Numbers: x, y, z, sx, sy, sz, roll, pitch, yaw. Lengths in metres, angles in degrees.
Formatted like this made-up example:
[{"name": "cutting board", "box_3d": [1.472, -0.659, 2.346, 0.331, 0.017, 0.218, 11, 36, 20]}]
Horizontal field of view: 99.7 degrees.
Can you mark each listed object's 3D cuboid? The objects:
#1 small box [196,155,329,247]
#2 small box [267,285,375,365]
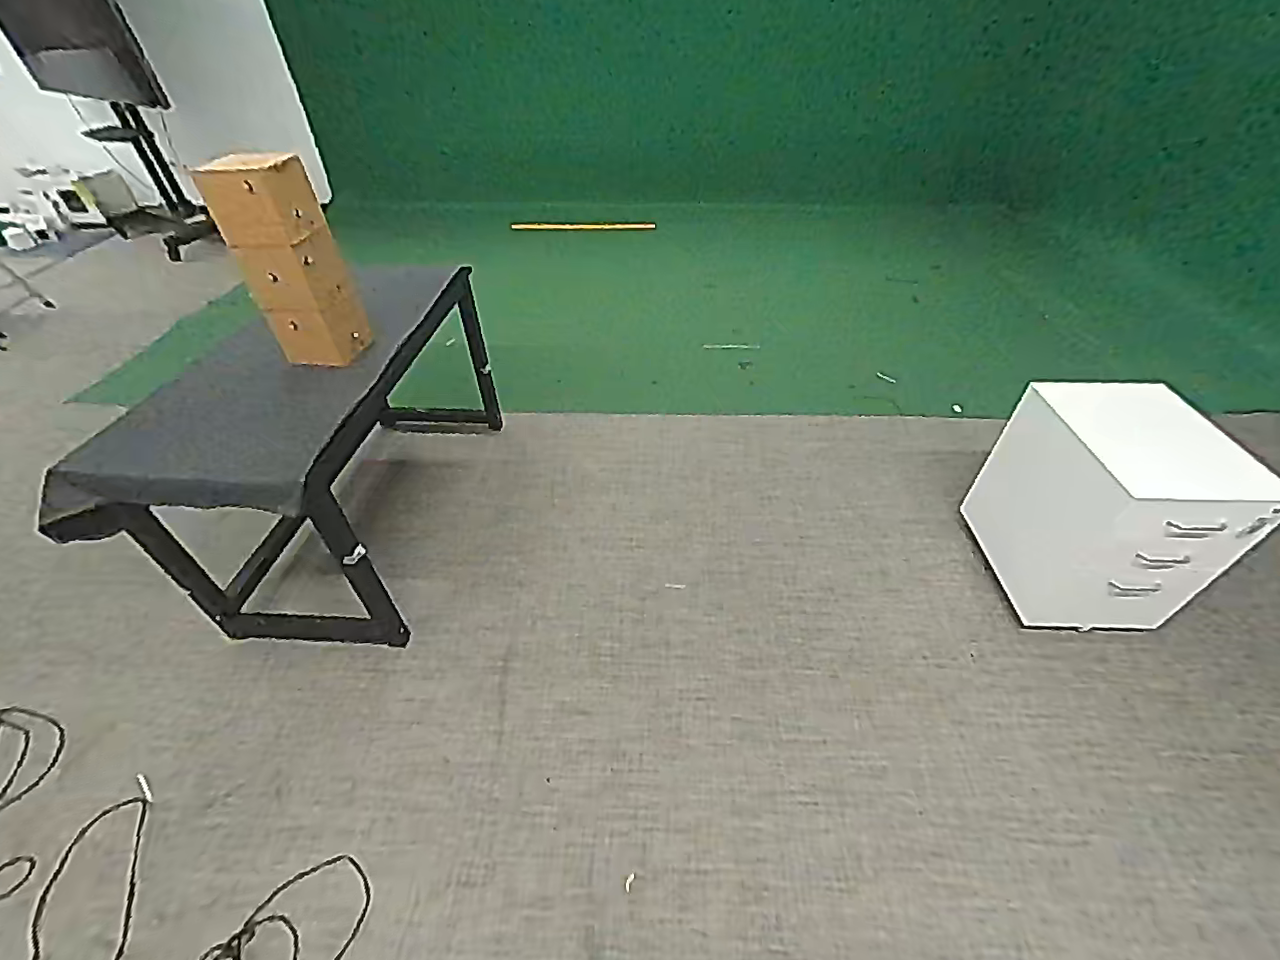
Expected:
[{"name": "small box", "box_3d": [-0.912, -0.683, 1.326, 0.179, 0.176, 0.168, 2, 42, 5]}, {"name": "small box", "box_3d": [-0.901, -0.441, 1.545, 0.179, 0.176, 0.168, 5, 43, 7]}]
